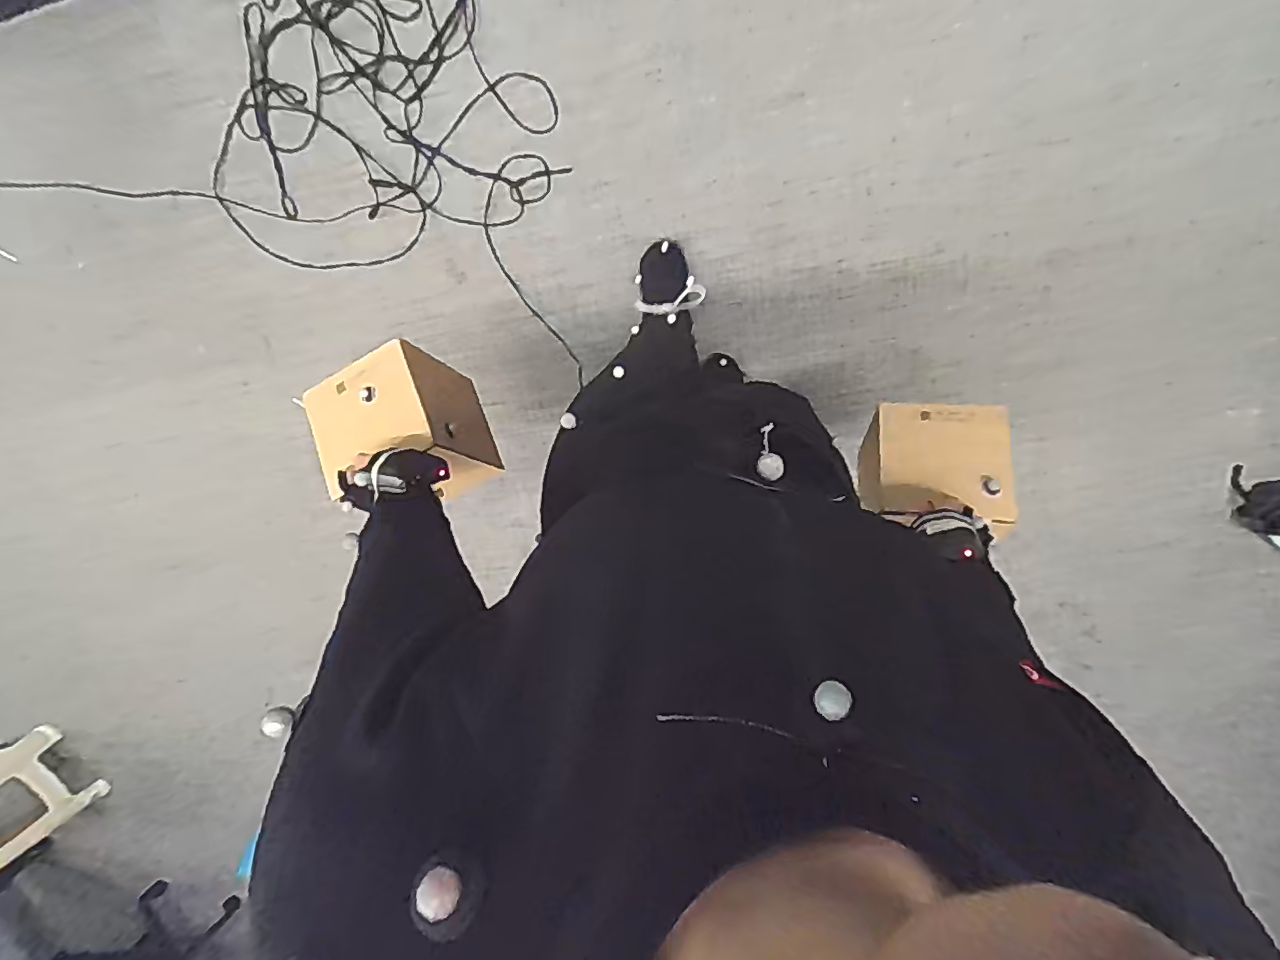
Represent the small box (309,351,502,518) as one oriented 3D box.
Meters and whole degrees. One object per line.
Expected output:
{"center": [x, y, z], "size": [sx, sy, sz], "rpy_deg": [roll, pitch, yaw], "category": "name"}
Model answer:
{"center": [-0.334, -0.059, 0.784], "size": [0.168, 0.179, 0.176], "rpy_deg": [-26, 75, 10], "category": "small box"}
